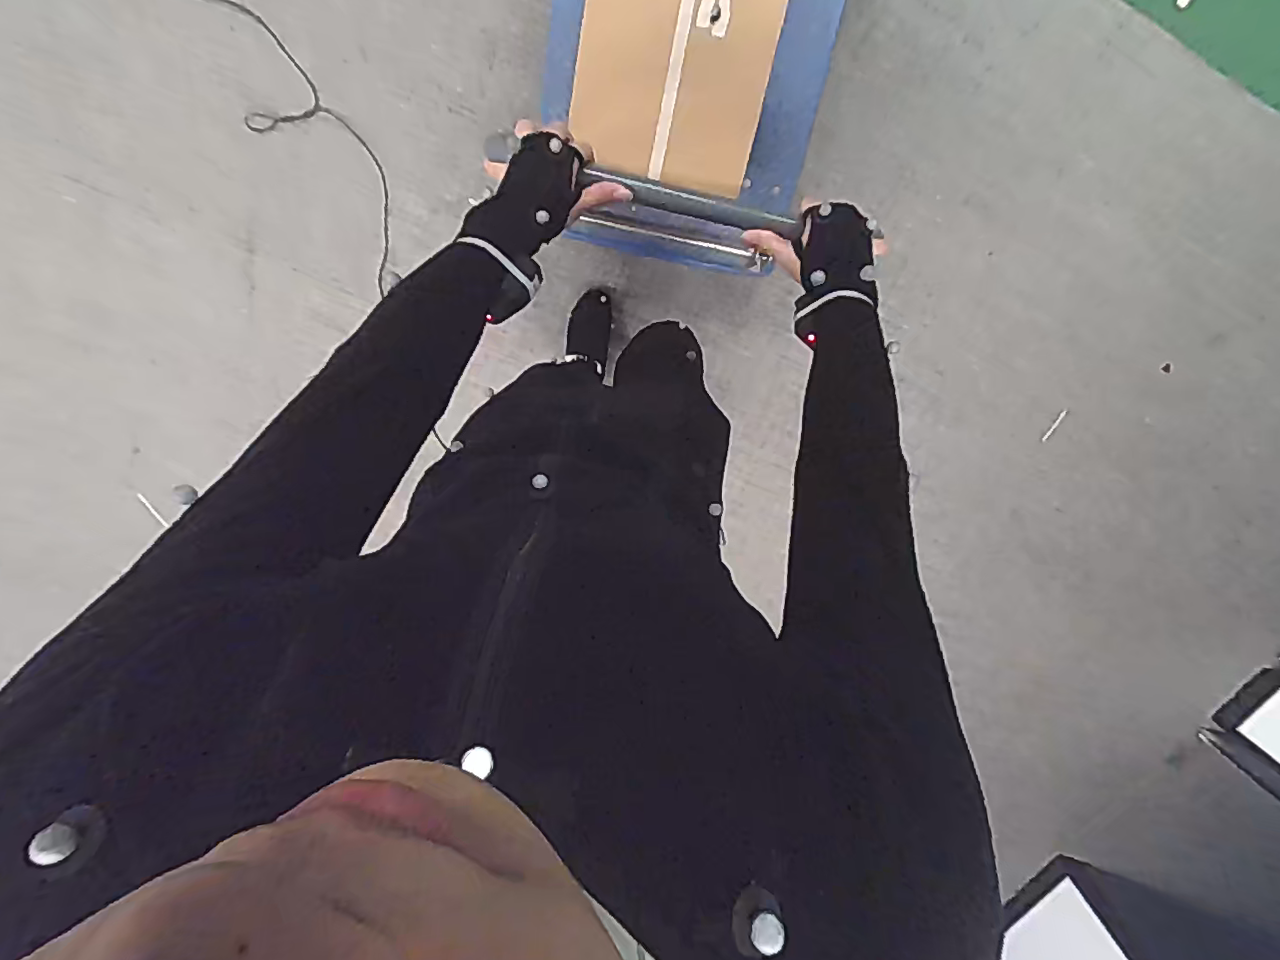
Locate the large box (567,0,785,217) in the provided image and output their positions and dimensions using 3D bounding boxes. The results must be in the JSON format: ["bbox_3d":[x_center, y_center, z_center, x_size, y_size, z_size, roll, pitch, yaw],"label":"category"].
[{"bbox_3d":[0.057,-0.747,1.013,0.320,0.320,0.408,10,111,-6],"label":"large box"}]
